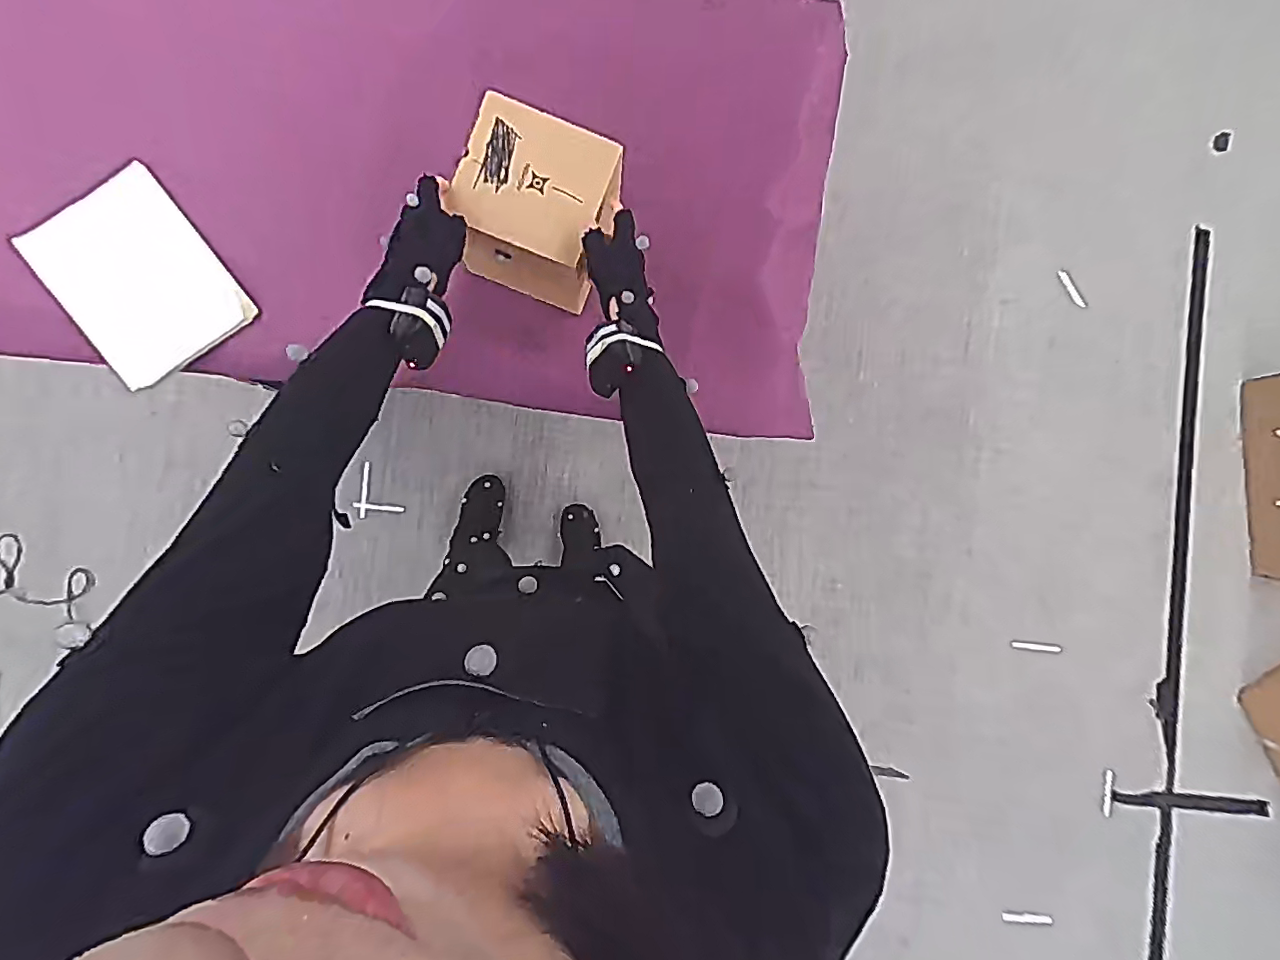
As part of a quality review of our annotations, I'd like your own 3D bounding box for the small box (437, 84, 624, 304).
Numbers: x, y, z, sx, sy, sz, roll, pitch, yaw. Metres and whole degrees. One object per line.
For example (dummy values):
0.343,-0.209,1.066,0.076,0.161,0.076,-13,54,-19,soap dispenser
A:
-0.134,-0.358,0.714,0.179,0.176,0.168,21,86,-4,small box
